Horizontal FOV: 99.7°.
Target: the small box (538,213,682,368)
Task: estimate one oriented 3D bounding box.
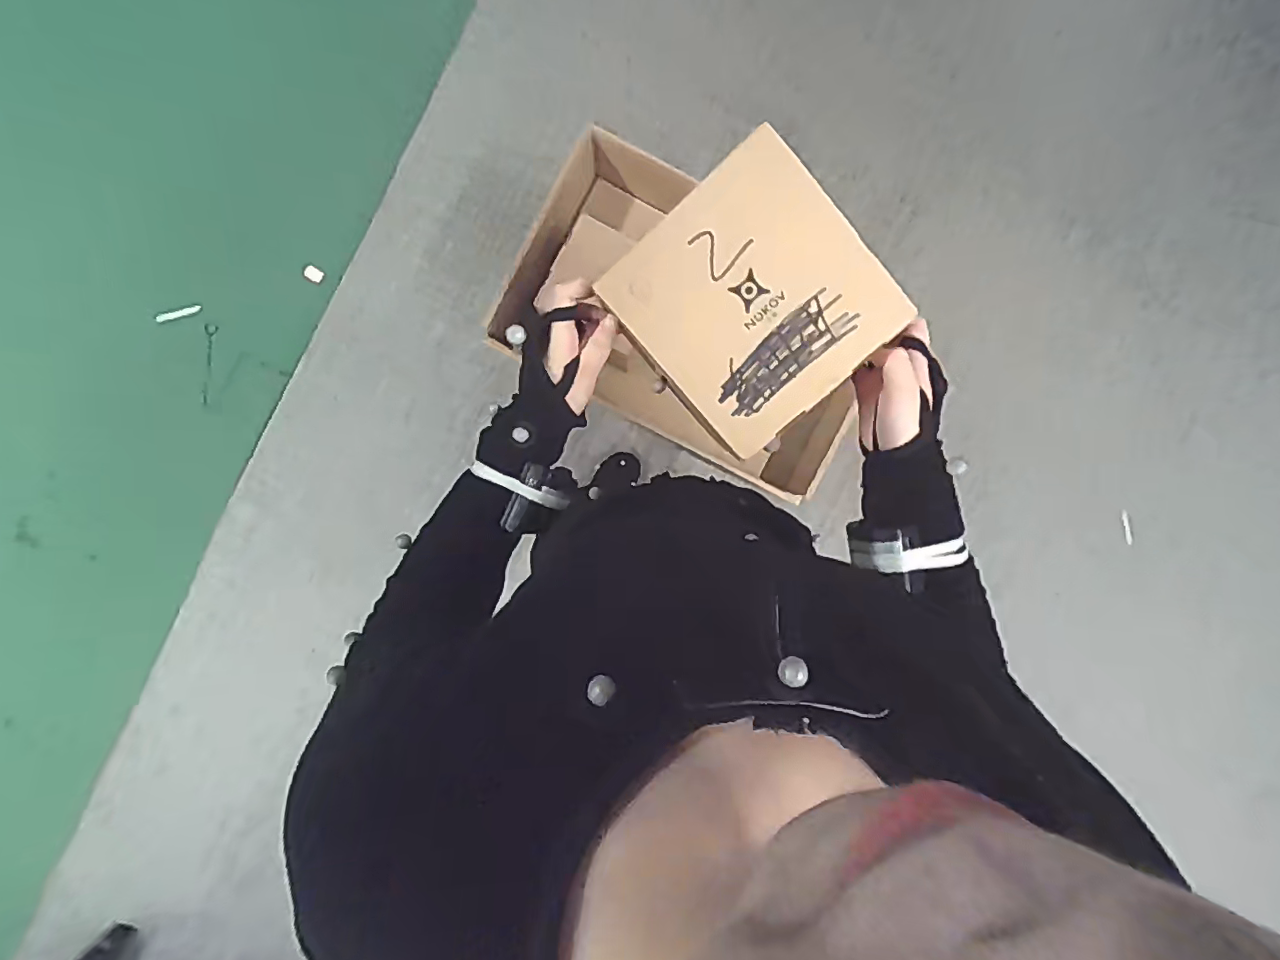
[{"bbox_3d":[-0.048,-0.313,0.936,0.179,0.176,0.168,31,90,-1],"label":"small box"}]
